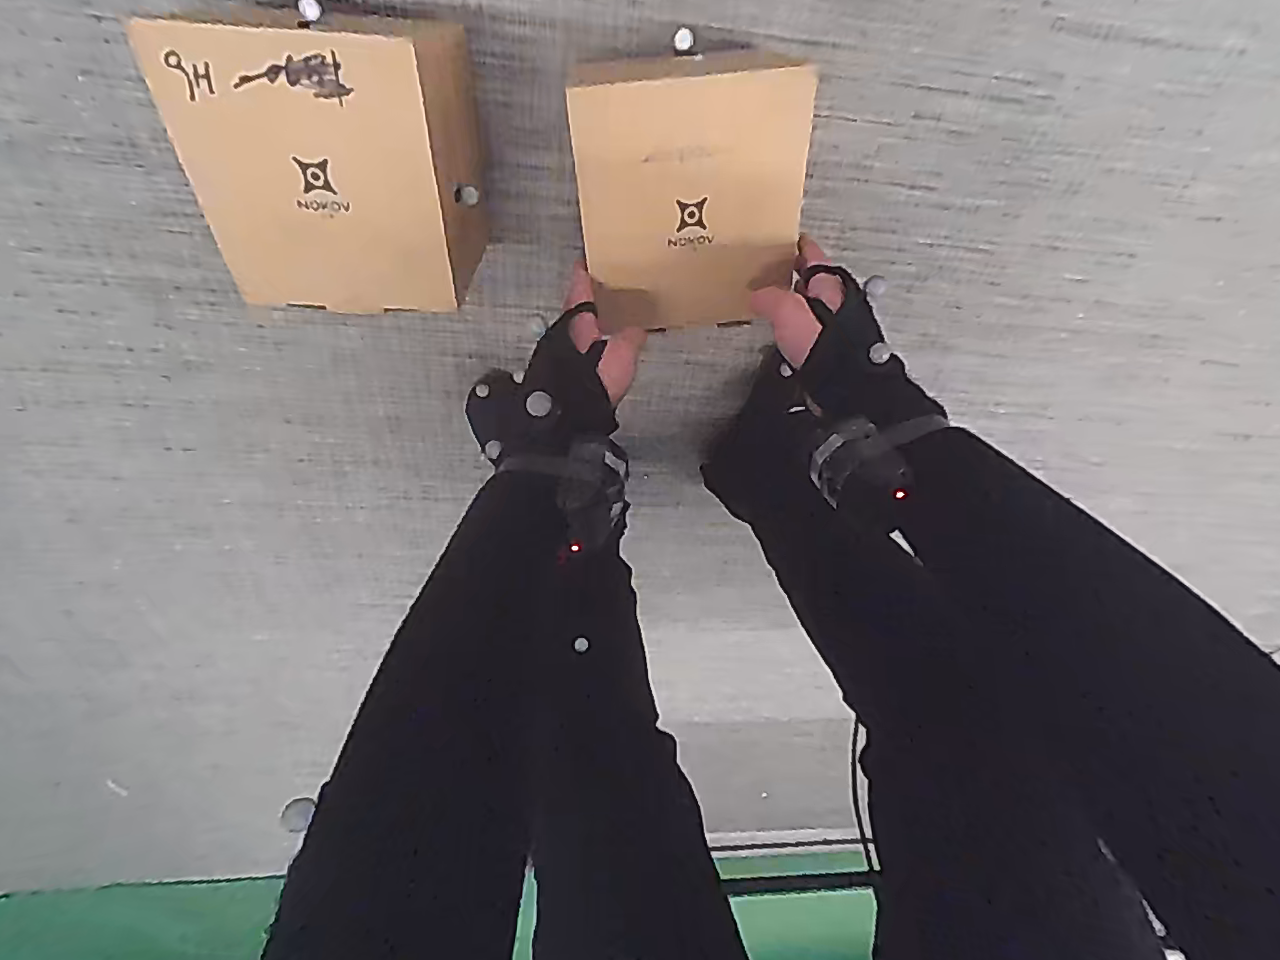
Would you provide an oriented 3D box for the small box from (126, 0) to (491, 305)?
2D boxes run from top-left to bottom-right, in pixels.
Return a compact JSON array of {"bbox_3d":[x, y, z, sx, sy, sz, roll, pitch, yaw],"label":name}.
[{"bbox_3d":[-0.220,-0.260,0.427,0.168,0.176,0.179,1,131,-4],"label":"small box"}]

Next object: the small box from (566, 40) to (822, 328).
[{"bbox_3d":[0.035,-0.250,0.454,0.168,0.176,0.179,-6,130,0],"label":"small box"}]
